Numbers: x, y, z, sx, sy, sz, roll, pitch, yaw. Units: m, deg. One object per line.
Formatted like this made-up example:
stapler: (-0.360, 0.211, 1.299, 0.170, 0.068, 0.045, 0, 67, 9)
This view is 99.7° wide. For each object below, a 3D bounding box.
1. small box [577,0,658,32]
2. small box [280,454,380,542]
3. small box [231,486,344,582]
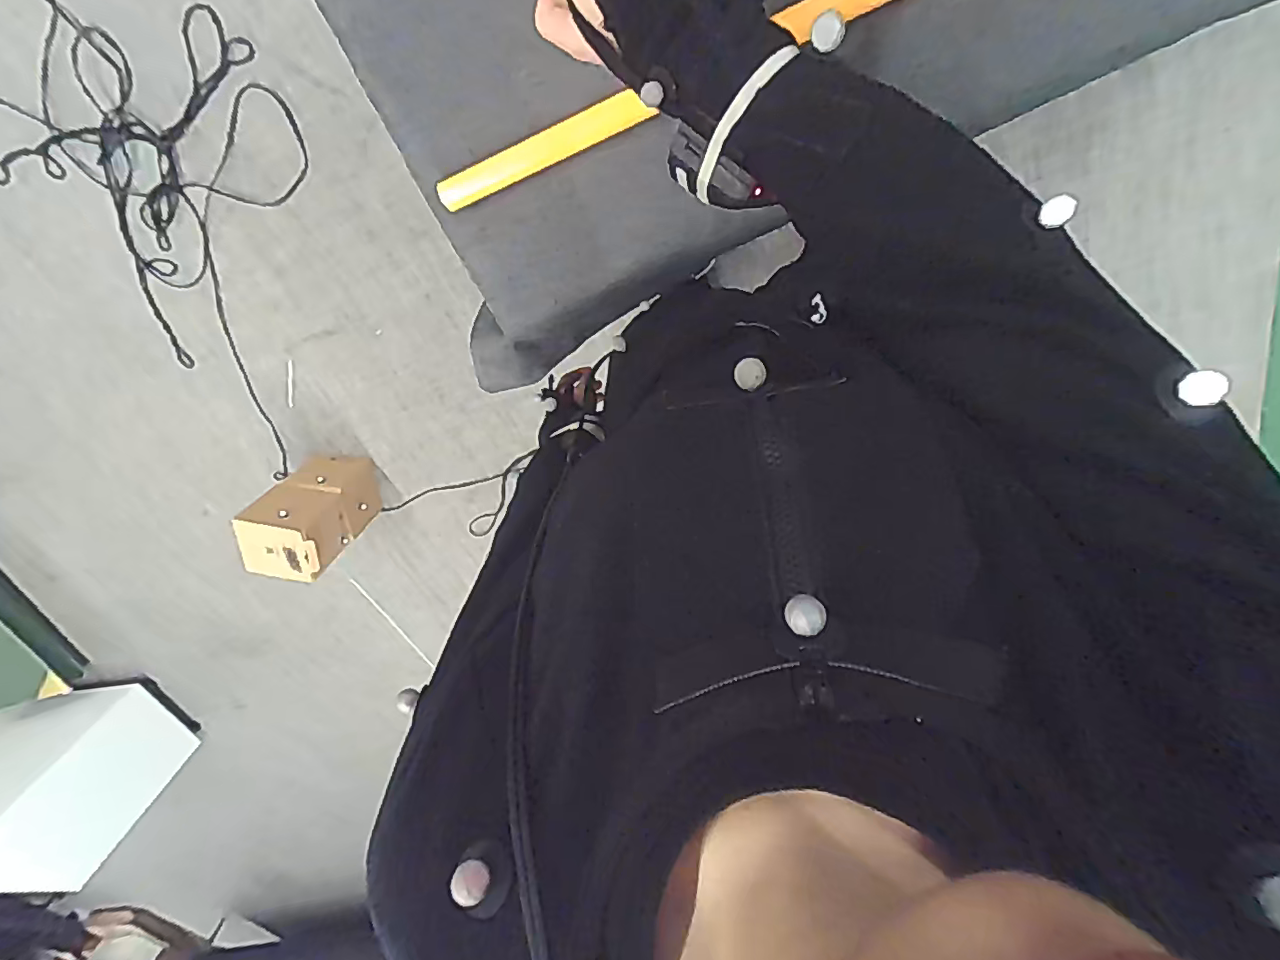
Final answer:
small box: (-0.012, -0.413, 0.312, 0.168, 0.176, 0.179, -26, 116, 20)
small box: (-0.858, 0.048, 1.521, 0.168, 0.176, 0.179, 5, 121, 3)
small box: (-0.883, 0.134, 1.382, 0.179, 0.176, 0.168, 10, 120, 1)
